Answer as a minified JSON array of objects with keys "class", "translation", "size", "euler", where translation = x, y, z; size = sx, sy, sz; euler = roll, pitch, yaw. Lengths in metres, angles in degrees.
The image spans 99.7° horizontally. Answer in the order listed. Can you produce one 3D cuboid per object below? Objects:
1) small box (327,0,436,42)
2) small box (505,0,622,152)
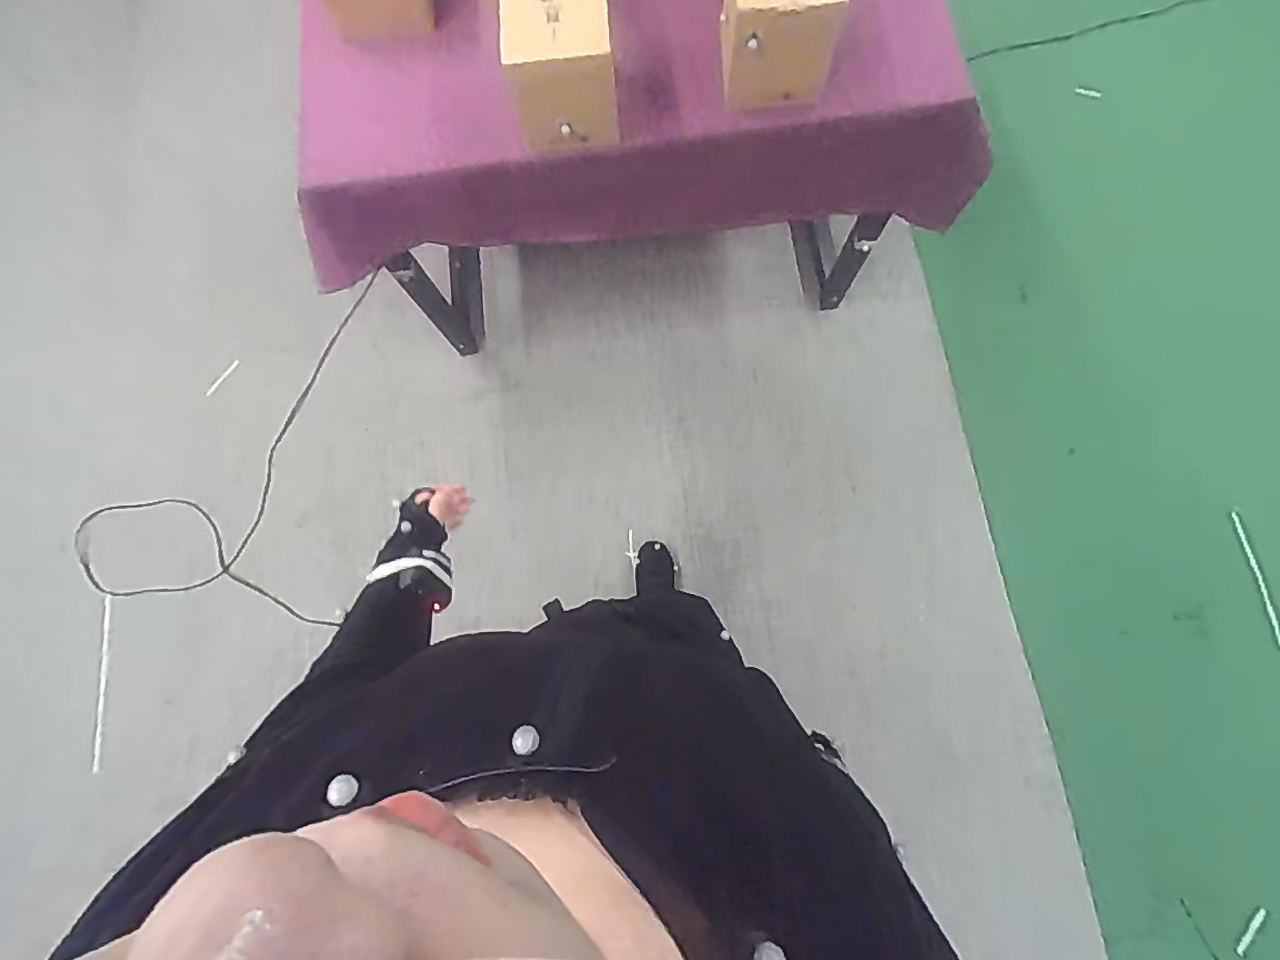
[{"class":"small box","translation":[-0.478,-0.937,0.971],"size":[0.179,0.176,0.168],"euler":[-5,77,2]},{"class":"small box","translation":[-0.121,-0.687,0.897],"size":[0.168,0.176,0.179],"euler":[-5,78,2]}]
